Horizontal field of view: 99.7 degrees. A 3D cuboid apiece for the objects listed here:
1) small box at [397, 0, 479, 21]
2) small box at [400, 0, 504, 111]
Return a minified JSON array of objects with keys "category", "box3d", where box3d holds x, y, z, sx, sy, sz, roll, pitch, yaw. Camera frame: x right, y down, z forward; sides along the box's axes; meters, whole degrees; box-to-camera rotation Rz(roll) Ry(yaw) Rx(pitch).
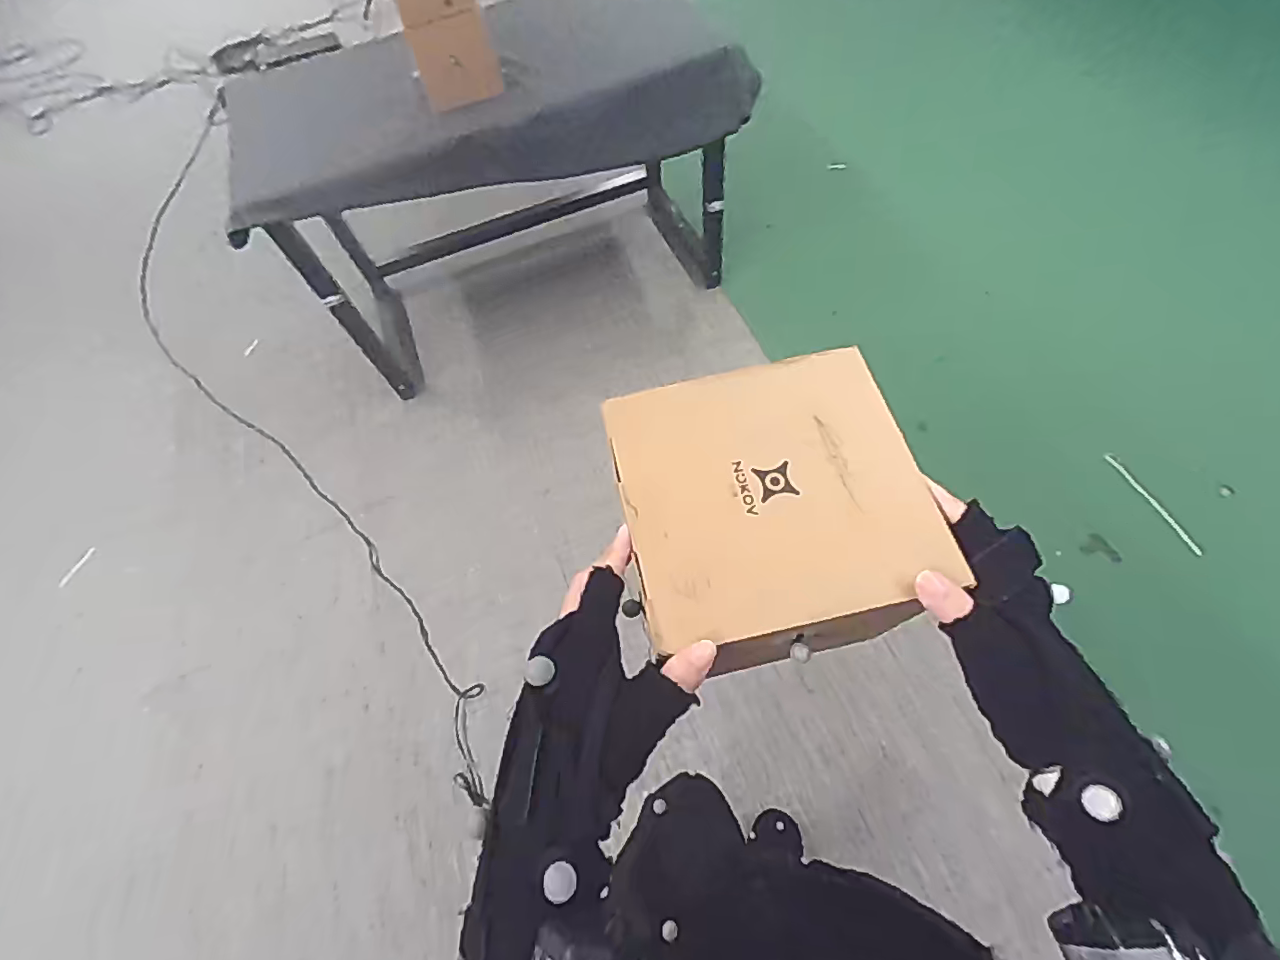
[{"category":"small box","box3d":[-0.445,-1.078,1.102,0.168,0.176,0.179,-20,61,-4]},{"category":"small box","box3d":[-0.425,-0.994,1.241,0.179,0.176,0.168,-20,61,-3]}]
